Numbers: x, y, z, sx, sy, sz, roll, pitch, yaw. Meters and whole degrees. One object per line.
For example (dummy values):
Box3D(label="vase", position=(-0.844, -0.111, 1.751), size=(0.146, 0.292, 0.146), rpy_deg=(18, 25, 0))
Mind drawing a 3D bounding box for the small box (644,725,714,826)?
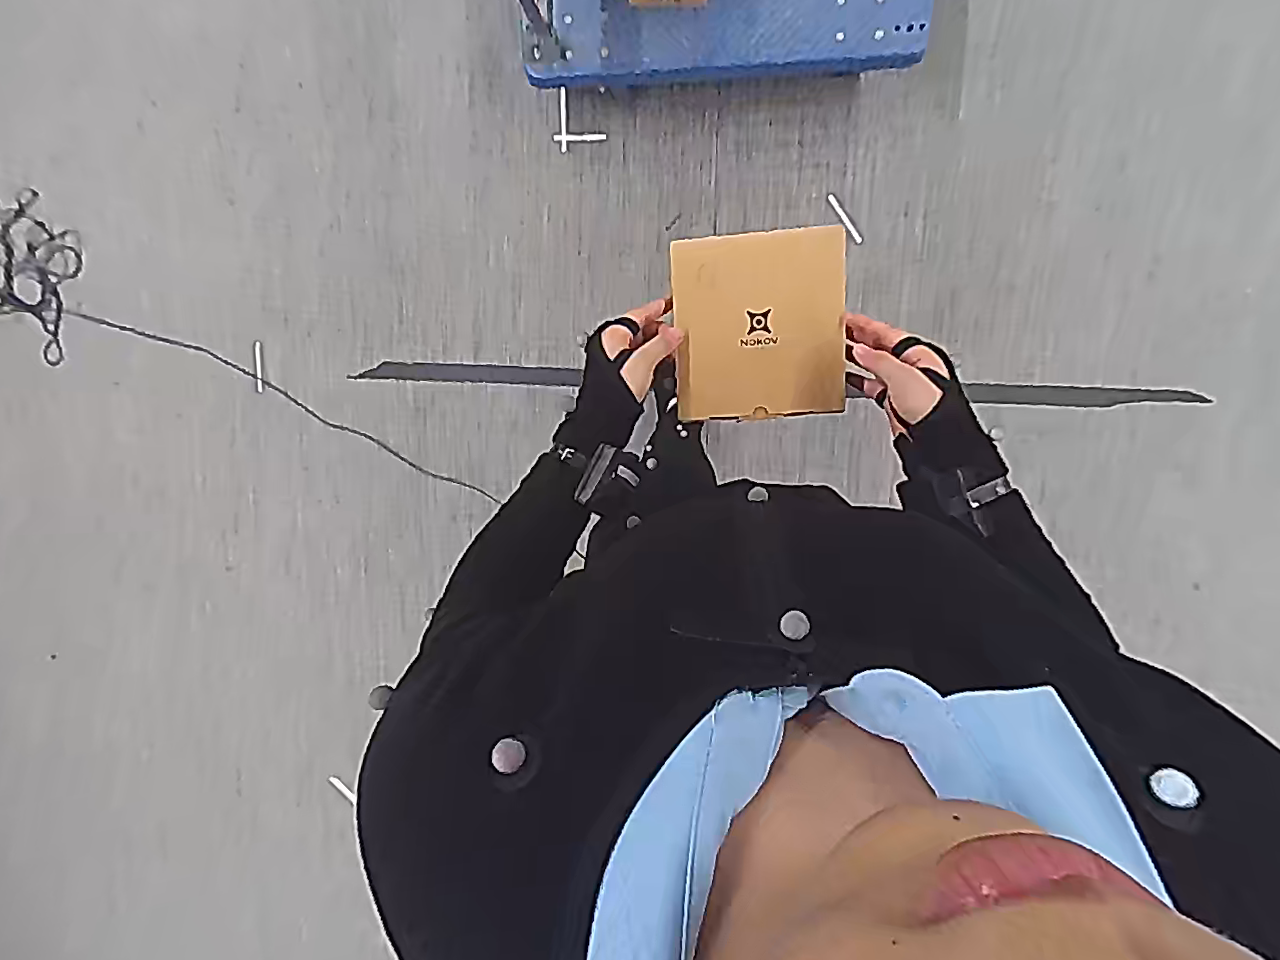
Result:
Box3D(label="small box", position=(0.110, 0.811, 1.495), size=(0.168, 0.176, 0.179), rpy_deg=(-10, 97, 5))
